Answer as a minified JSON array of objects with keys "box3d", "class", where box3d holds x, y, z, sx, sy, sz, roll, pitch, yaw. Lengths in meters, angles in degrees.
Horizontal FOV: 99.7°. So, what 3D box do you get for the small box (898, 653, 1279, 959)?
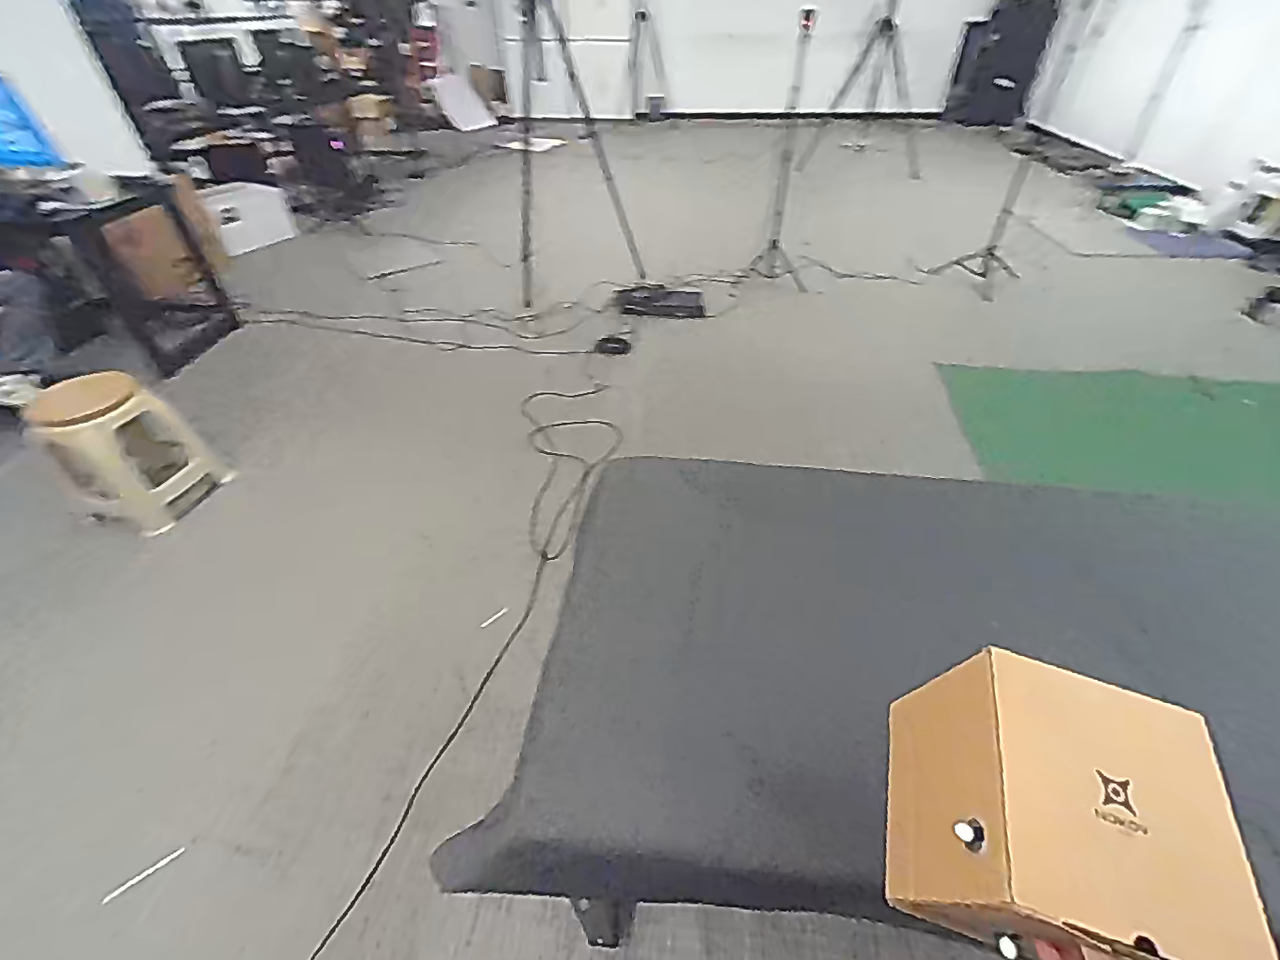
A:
[{"box3d":[0.328,0.272,0.433,0.168,0.176,0.179,19,54,6],"class":"small box"}]
